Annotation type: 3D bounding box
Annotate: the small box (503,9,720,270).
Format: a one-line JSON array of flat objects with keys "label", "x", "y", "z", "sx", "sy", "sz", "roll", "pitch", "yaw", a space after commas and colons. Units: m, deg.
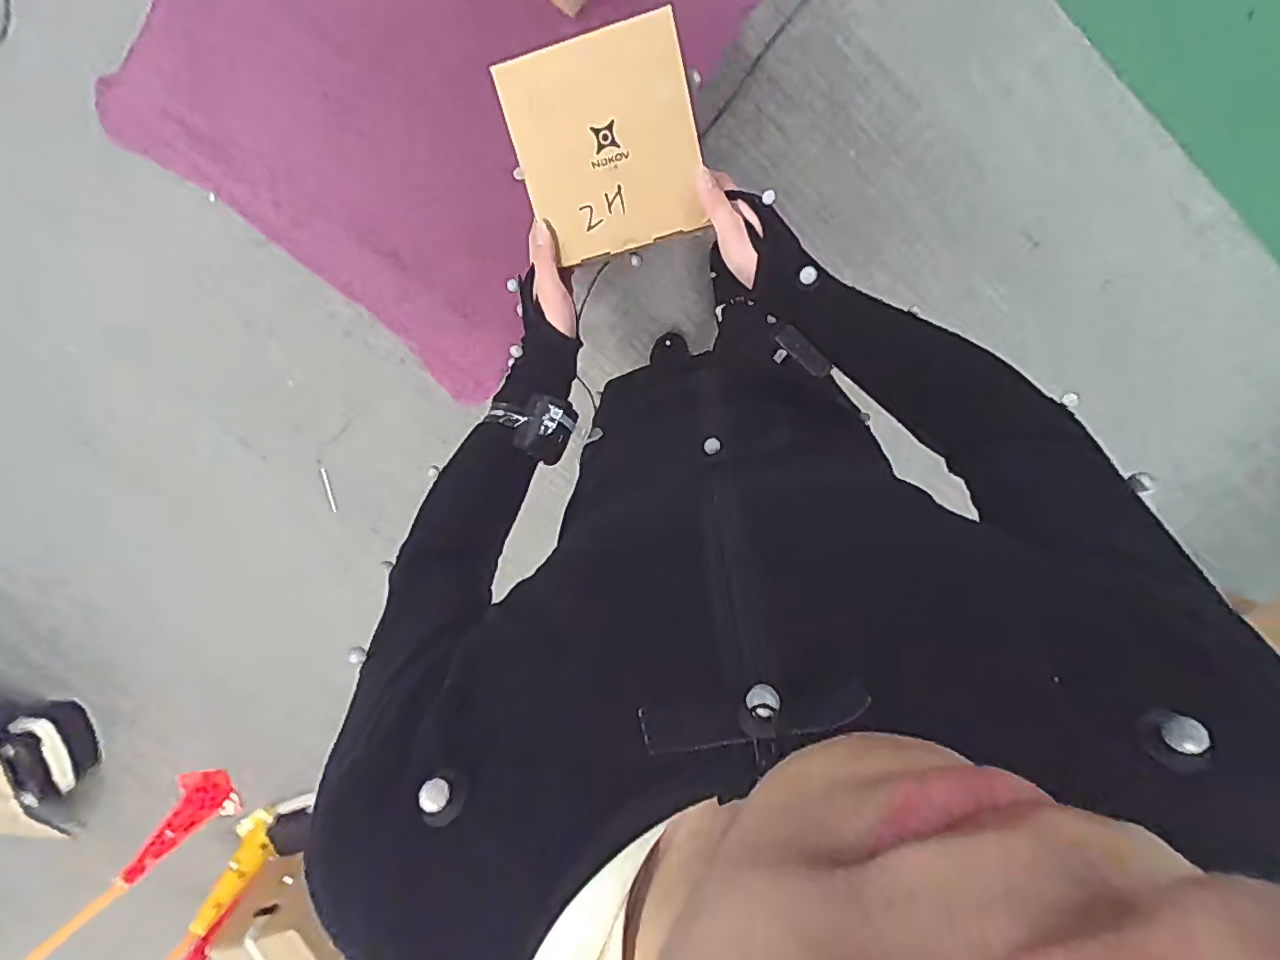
[{"label": "small box", "x": -0.021, "y": -0.328, "z": 0.563, "sx": 0.168, "sy": 0.176, "sz": 0.179, "roll": -13, "pitch": 110, "yaw": 6}]
